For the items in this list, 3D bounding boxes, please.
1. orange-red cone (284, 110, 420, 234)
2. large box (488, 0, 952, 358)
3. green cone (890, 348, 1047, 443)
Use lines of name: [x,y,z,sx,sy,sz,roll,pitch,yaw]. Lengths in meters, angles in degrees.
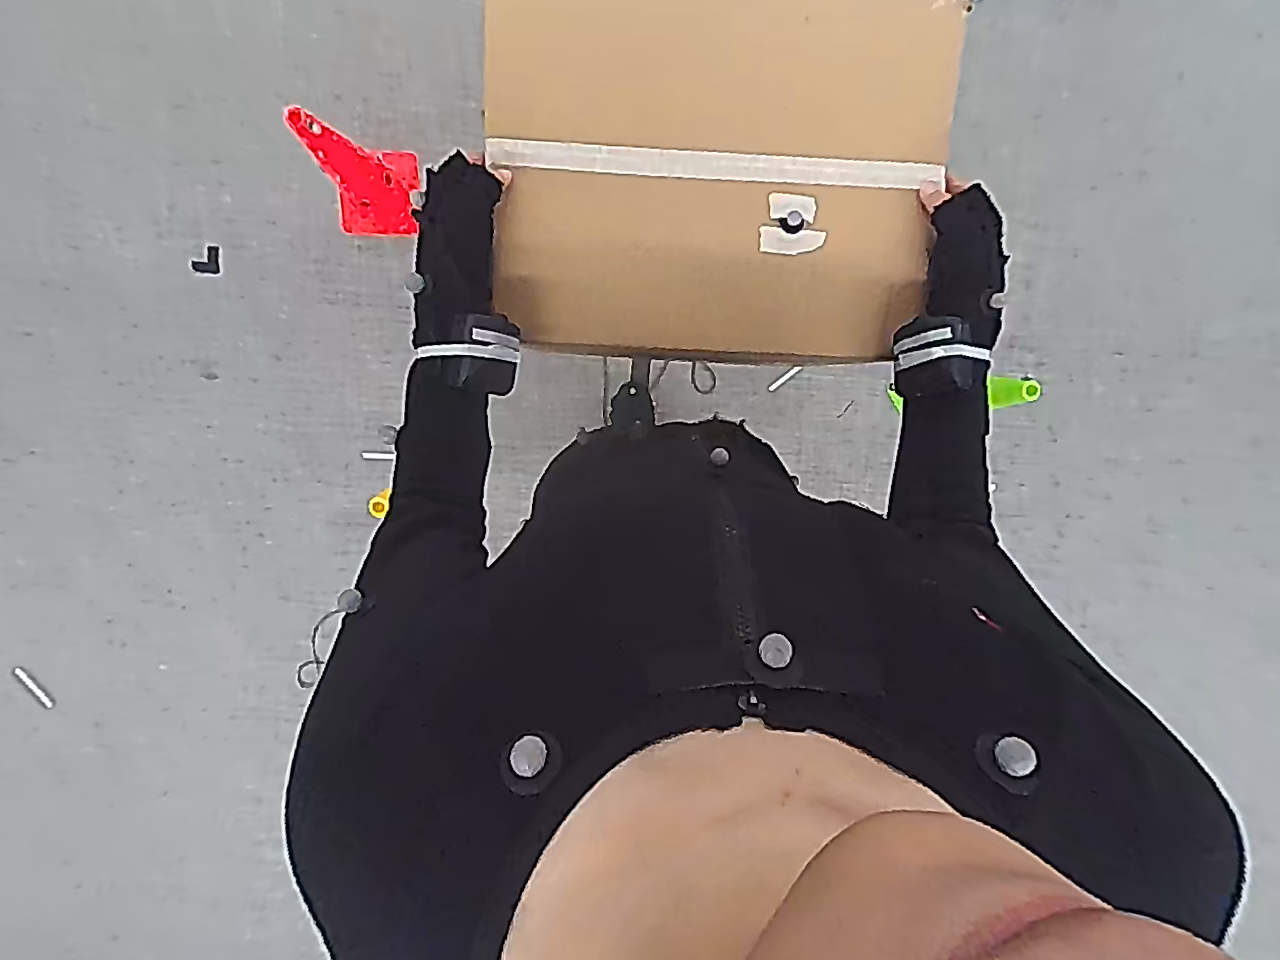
orange-red cone: [-0.653,-0.699,1.191,0.198,0.360,0.199,1,98,-1]
large box: [0.059,-0.310,0.626,0.408,0.320,0.320,2,101,-3]
green cone: [0.801,-0.206,1.280,0.202,0.368,0.200,-34,97,1]
